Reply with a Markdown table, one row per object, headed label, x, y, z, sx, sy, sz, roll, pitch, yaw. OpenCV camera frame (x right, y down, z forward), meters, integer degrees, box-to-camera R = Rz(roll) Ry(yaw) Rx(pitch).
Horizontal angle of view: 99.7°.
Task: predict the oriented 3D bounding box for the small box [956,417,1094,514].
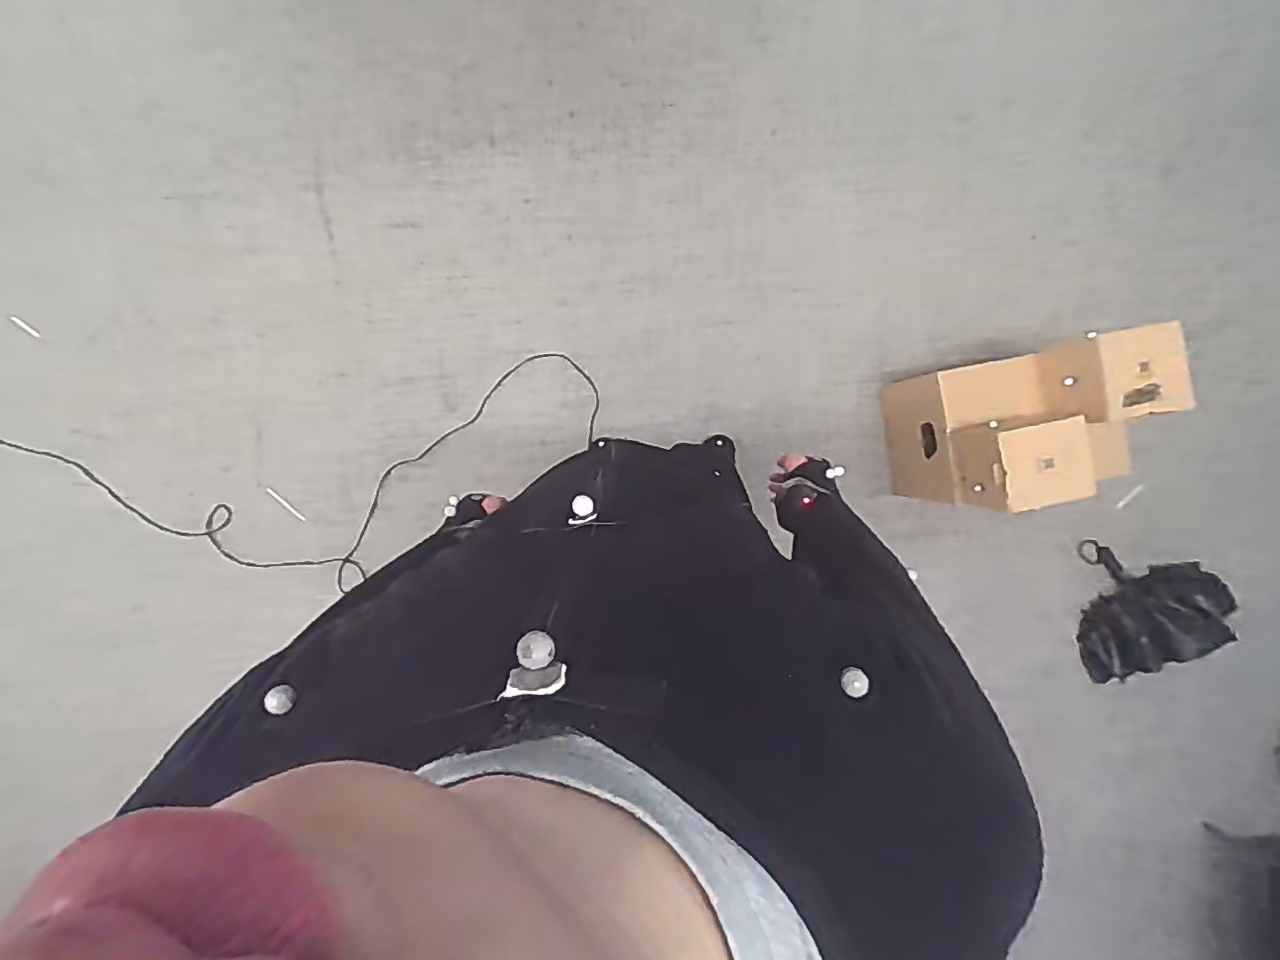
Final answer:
| label | x | y | z | sx | sy | sz | roll | pitch | yaw |
| --- | --- | --- | --- | --- | --- | --- | --- | --- | --- |
| small box | 0.803 | -0.034 | 1.149 | 0.179 | 0.176 | 0.168 | -13 | 96 | 0 |

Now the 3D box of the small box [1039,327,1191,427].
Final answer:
| label | x | y | z | sx | sy | sz | roll | pitch | yaw |
| --- | --- | --- | --- | --- | --- | --- | --- | --- | --- |
| small box | 0.986 | -0.205 | 1.138 | 0.168 | 0.176 | 0.179 | -9 | 90 | 1 |
